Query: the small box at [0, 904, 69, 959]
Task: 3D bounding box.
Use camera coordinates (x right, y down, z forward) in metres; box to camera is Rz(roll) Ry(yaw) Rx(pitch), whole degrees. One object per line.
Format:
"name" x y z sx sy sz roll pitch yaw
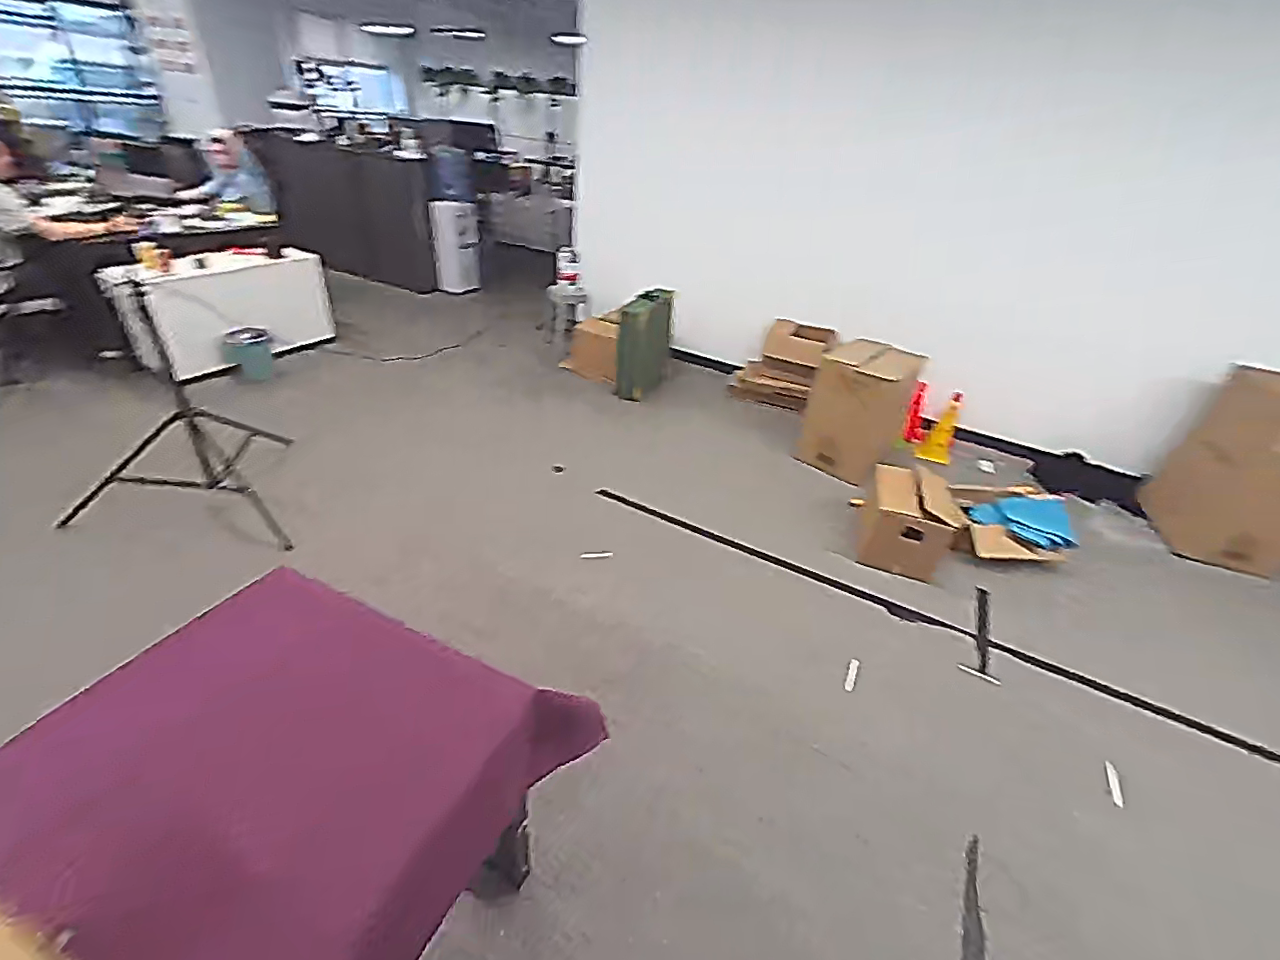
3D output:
"small box" -0.630 0.518 0.483 0.179 0.176 0.168 19 35 18
